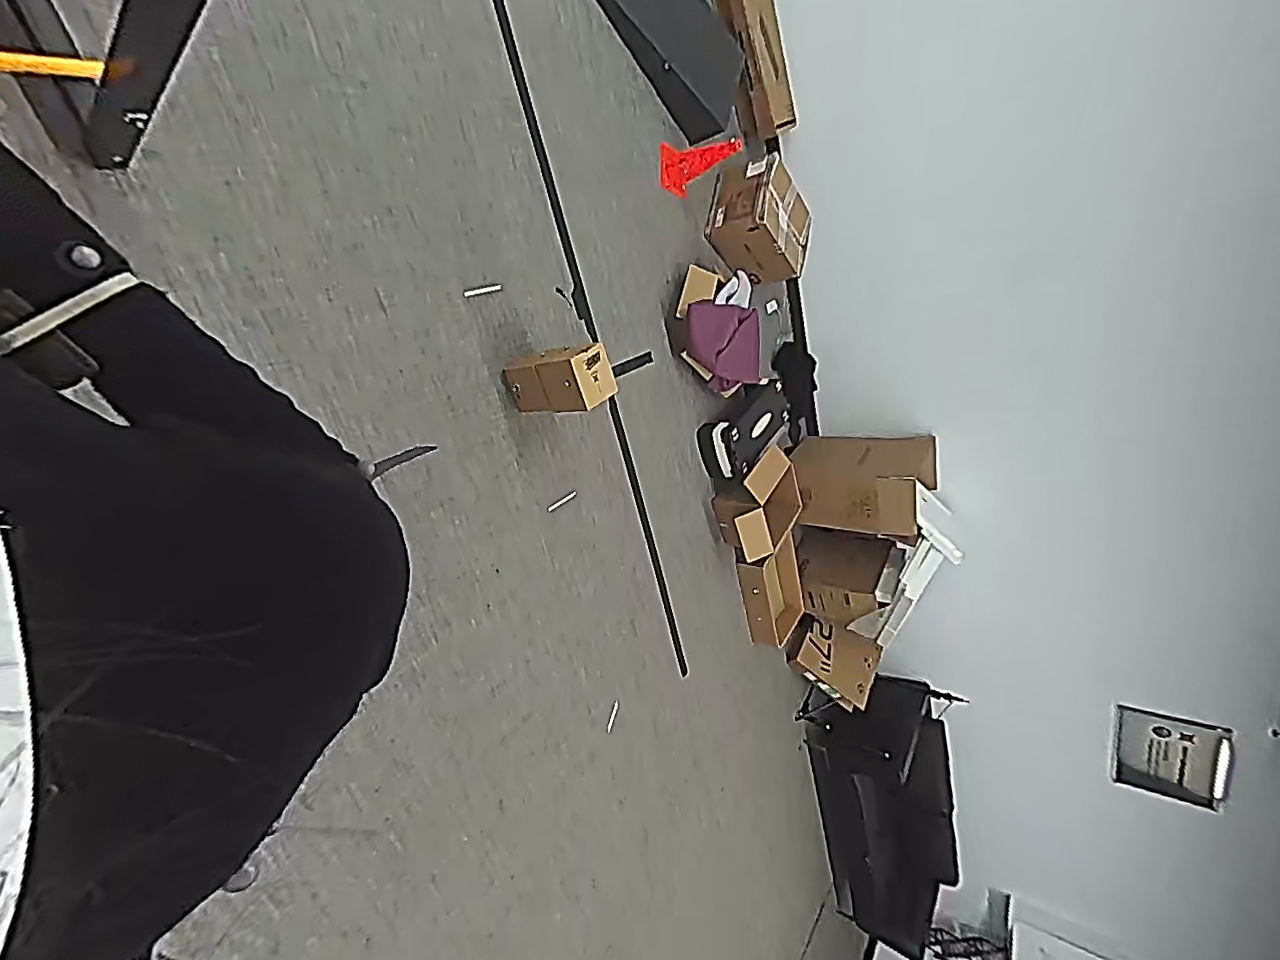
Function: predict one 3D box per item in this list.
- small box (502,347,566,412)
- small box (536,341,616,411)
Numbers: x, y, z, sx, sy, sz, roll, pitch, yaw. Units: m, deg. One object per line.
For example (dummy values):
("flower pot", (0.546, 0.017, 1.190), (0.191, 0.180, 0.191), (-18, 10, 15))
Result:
("small box", (-0.344, -0.348, 1.878), (0.179, 0.176, 0.168), (-43, 123, -39))
("small box", (-0.214, -0.338, 1.777), (0.168, 0.176, 0.179), (-41, 123, -41))
